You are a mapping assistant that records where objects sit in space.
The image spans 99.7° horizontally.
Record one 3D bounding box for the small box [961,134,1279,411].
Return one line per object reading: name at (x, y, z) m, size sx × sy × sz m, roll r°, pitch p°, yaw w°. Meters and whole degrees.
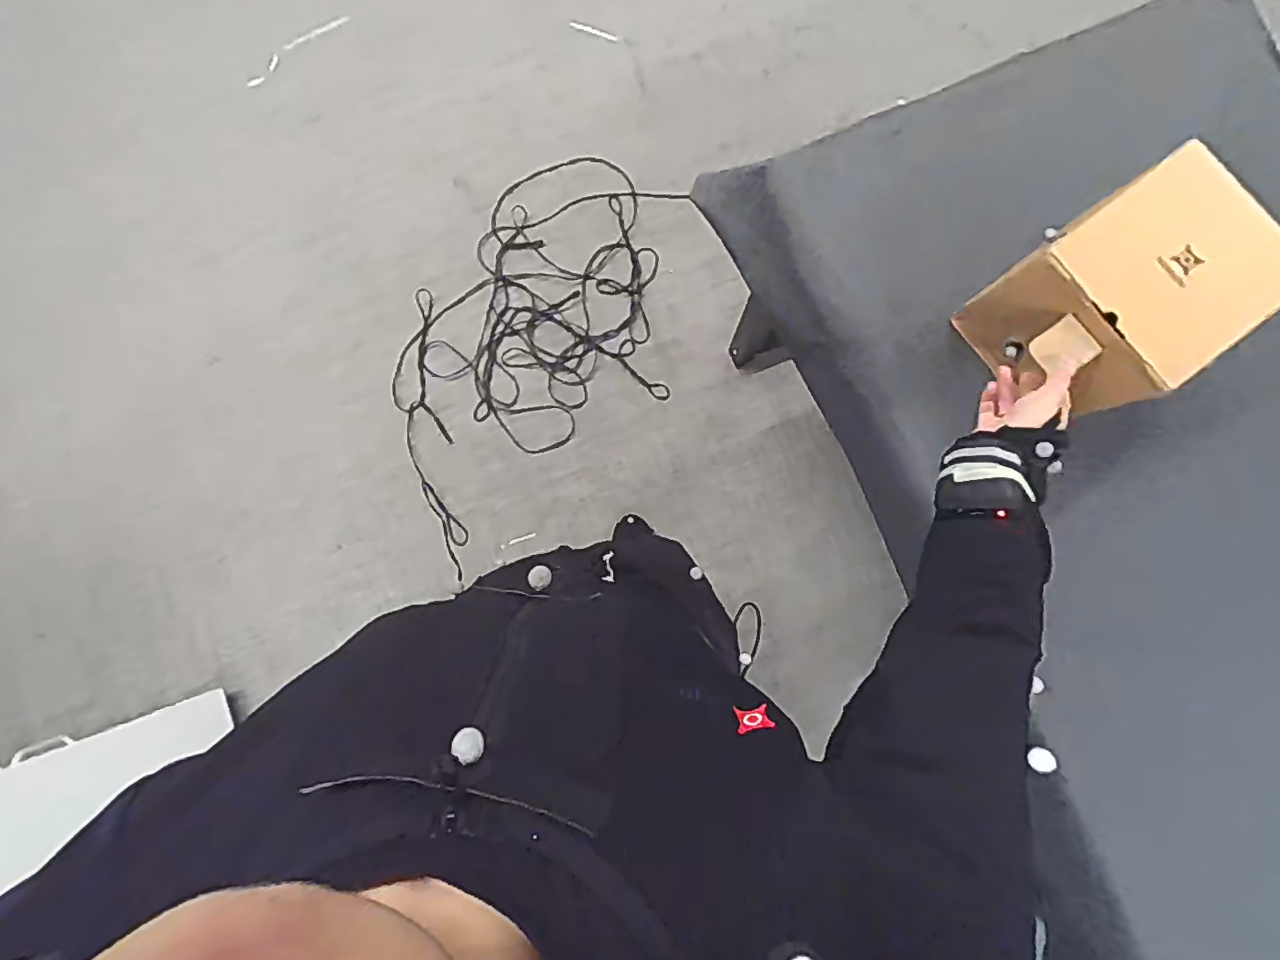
small box at (0.488, -0.195, 0.562) m, size 0.179 × 0.176 × 0.168 m, roll -38°, pitch 86°, yaw 0°
